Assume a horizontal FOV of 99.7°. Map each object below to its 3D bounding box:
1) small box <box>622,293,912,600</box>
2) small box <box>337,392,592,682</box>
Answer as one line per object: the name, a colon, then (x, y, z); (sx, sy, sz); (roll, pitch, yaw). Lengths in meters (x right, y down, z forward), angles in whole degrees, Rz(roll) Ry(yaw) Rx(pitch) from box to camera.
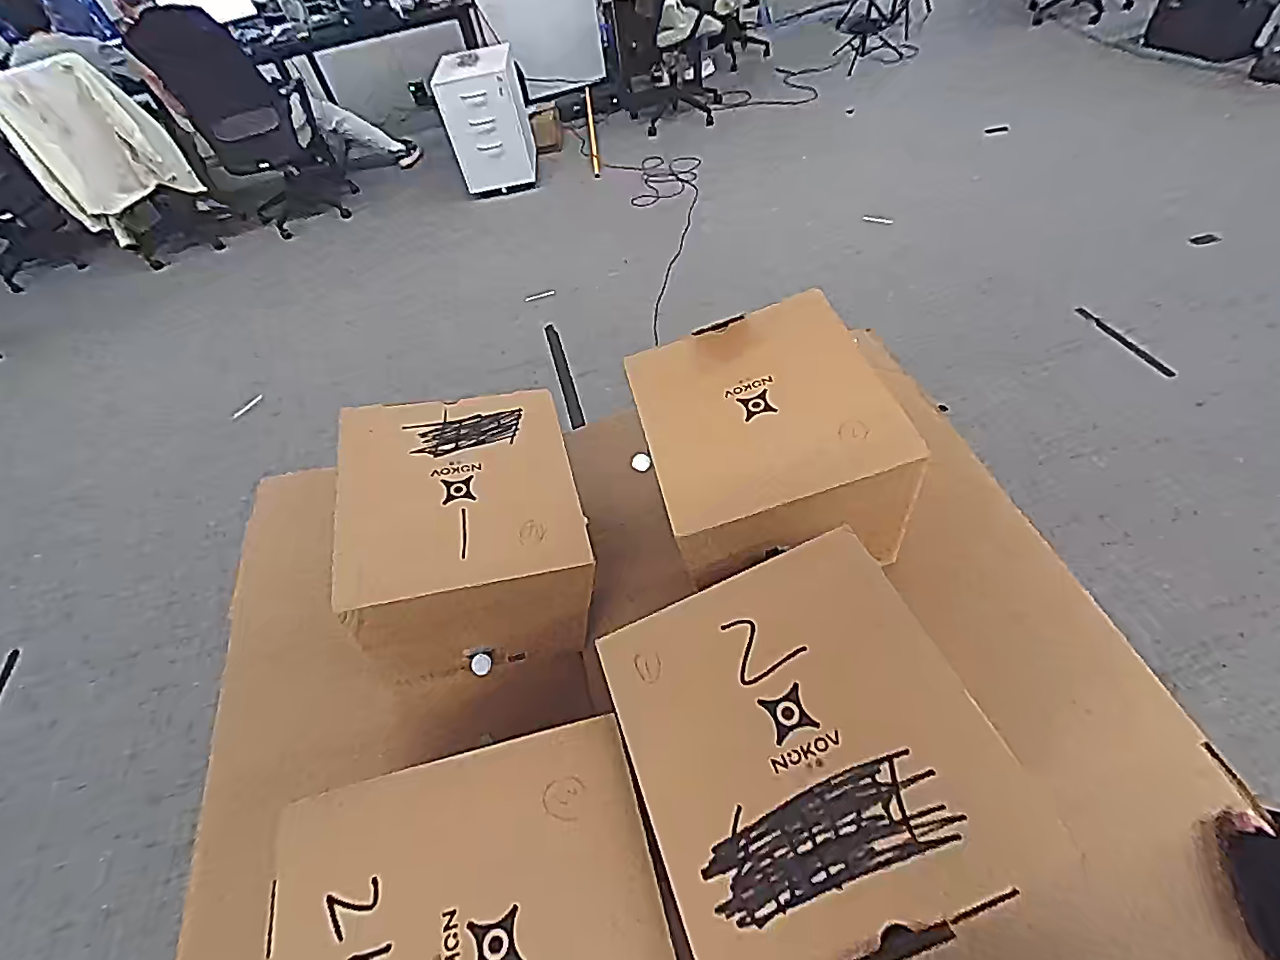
small box: (0.100, -0.015, 0.457); (0.168, 0.176, 0.179); (-19, 54, 5)
small box: (-0.142, 0.049, 0.467); (0.168, 0.176, 0.179); (-8, 54, -14)
